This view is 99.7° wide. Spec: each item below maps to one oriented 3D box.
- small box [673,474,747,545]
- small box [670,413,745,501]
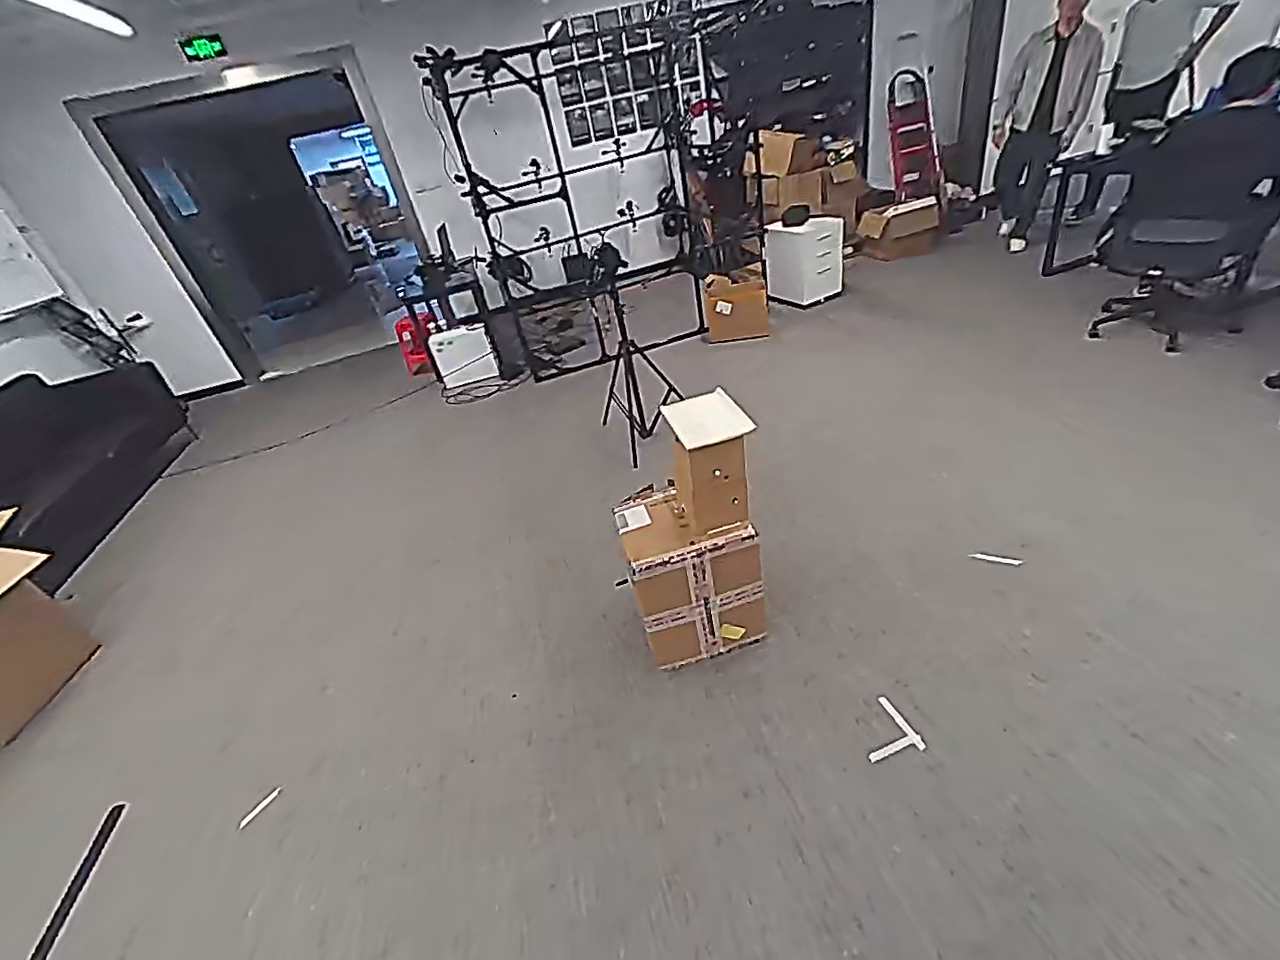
[{"bbox_3d":[0.214,0.069,1.641,0.179,0.176,0.168,-18,35,-10],"label":"small box"},{"bbox_3d":[0.192,-0.066,1.549,0.168,0.176,0.179,-15,35,-7],"label":"small box"}]
